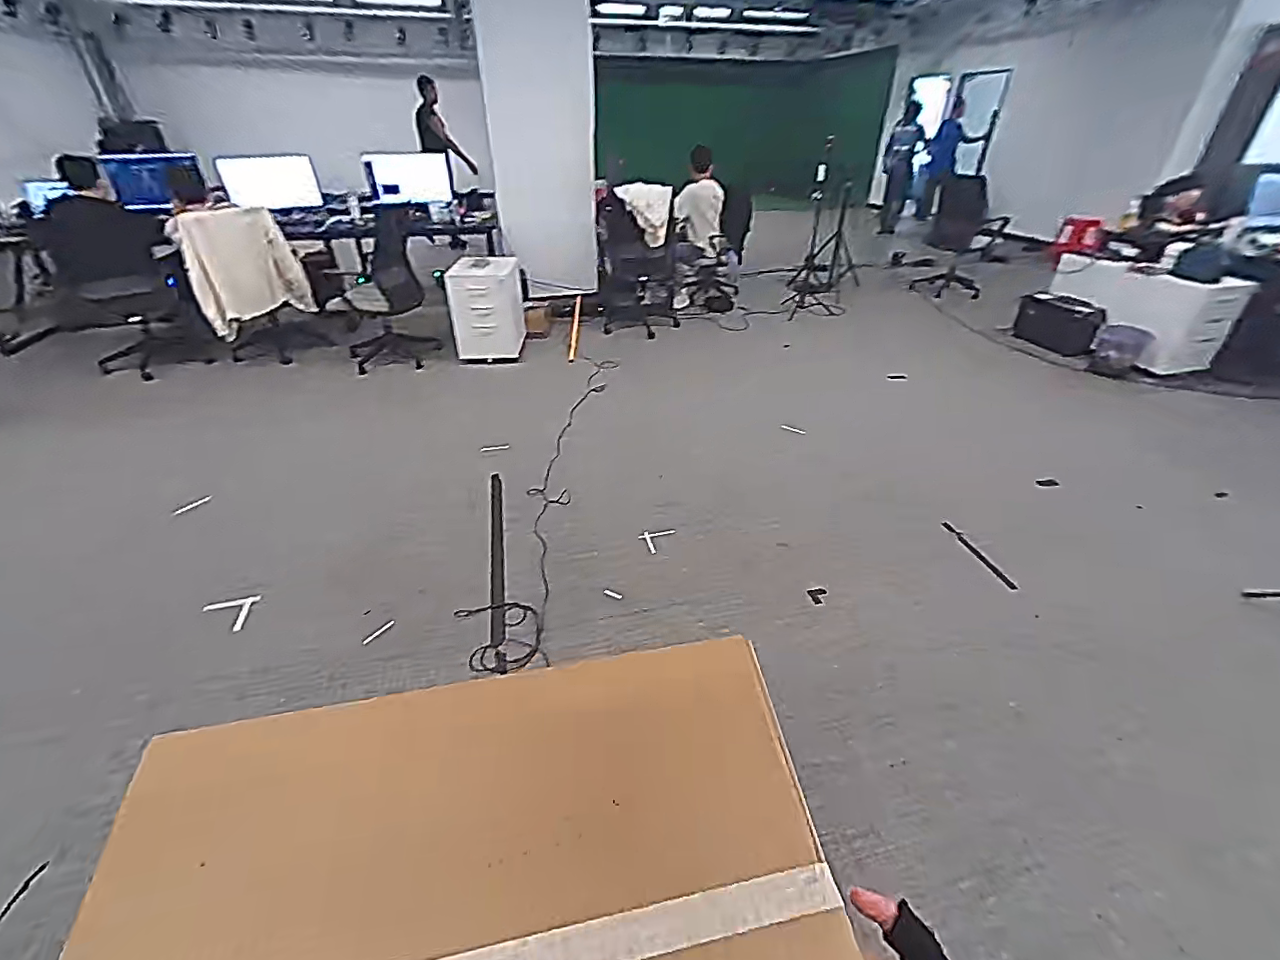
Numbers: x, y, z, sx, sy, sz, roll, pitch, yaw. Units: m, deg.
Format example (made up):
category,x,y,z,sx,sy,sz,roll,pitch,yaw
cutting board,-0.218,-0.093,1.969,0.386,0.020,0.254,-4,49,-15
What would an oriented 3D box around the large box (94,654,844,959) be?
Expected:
category,x,y,z,sx,sy,sz,roll,pitch,yaw
large box,-0.089,0.368,0.394,0.408,0.320,0.320,-7,47,-8
